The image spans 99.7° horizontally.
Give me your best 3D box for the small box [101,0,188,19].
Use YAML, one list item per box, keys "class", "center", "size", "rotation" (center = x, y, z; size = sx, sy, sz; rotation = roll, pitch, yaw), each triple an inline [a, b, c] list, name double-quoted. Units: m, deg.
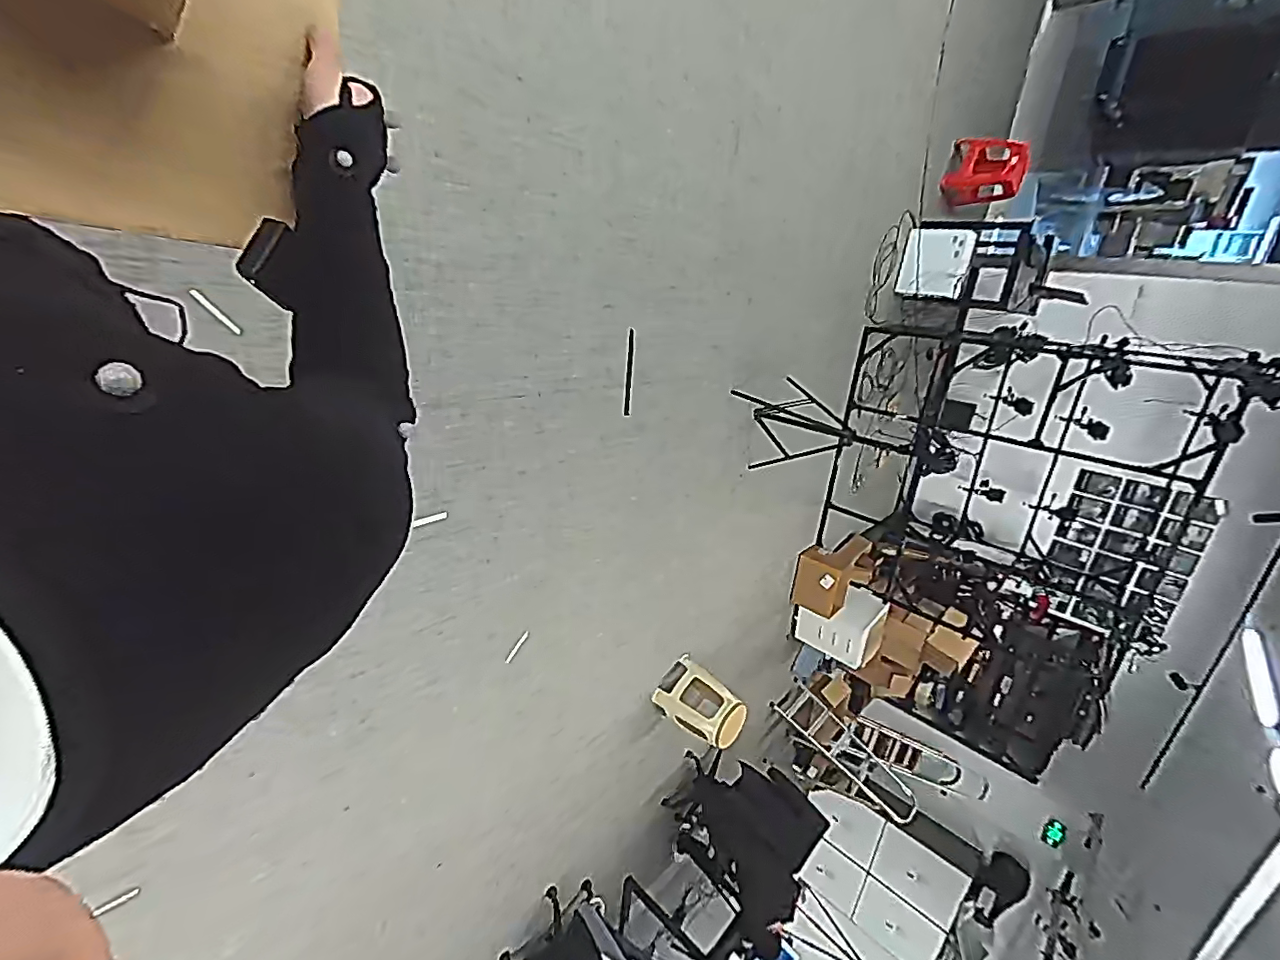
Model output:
- class: "small box"
  center: [-0.353, -0.418, 0.310]
  size: [0.179, 0.176, 0.168]
  rotation: [8, 98, -46]
